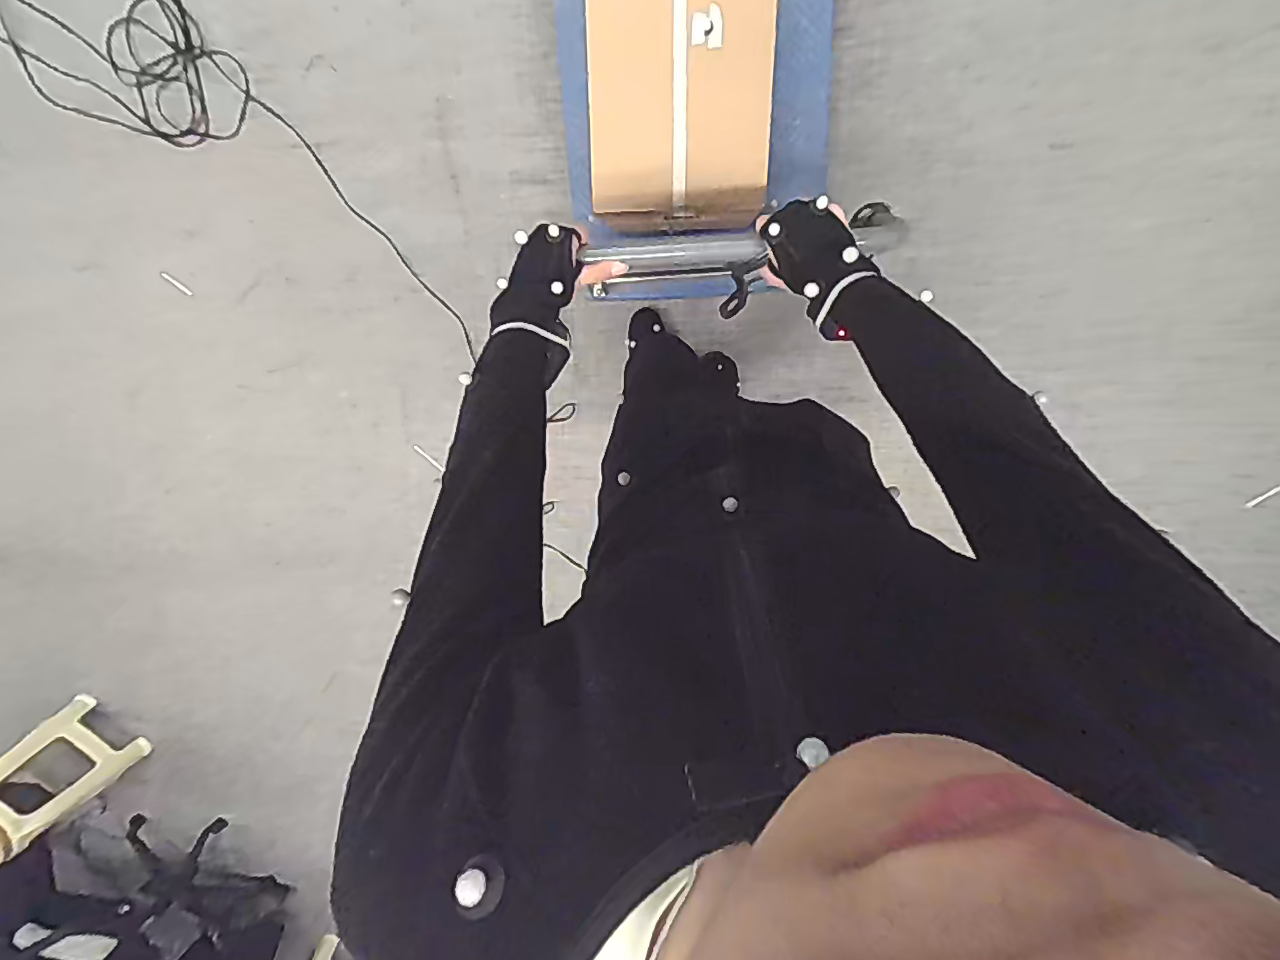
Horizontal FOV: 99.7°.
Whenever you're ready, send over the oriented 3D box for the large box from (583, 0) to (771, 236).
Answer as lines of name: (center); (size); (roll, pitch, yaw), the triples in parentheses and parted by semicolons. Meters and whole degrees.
large box: (0.076, -0.719, 1.061); (0.320, 0.320, 0.408); (1, 108, 5)
